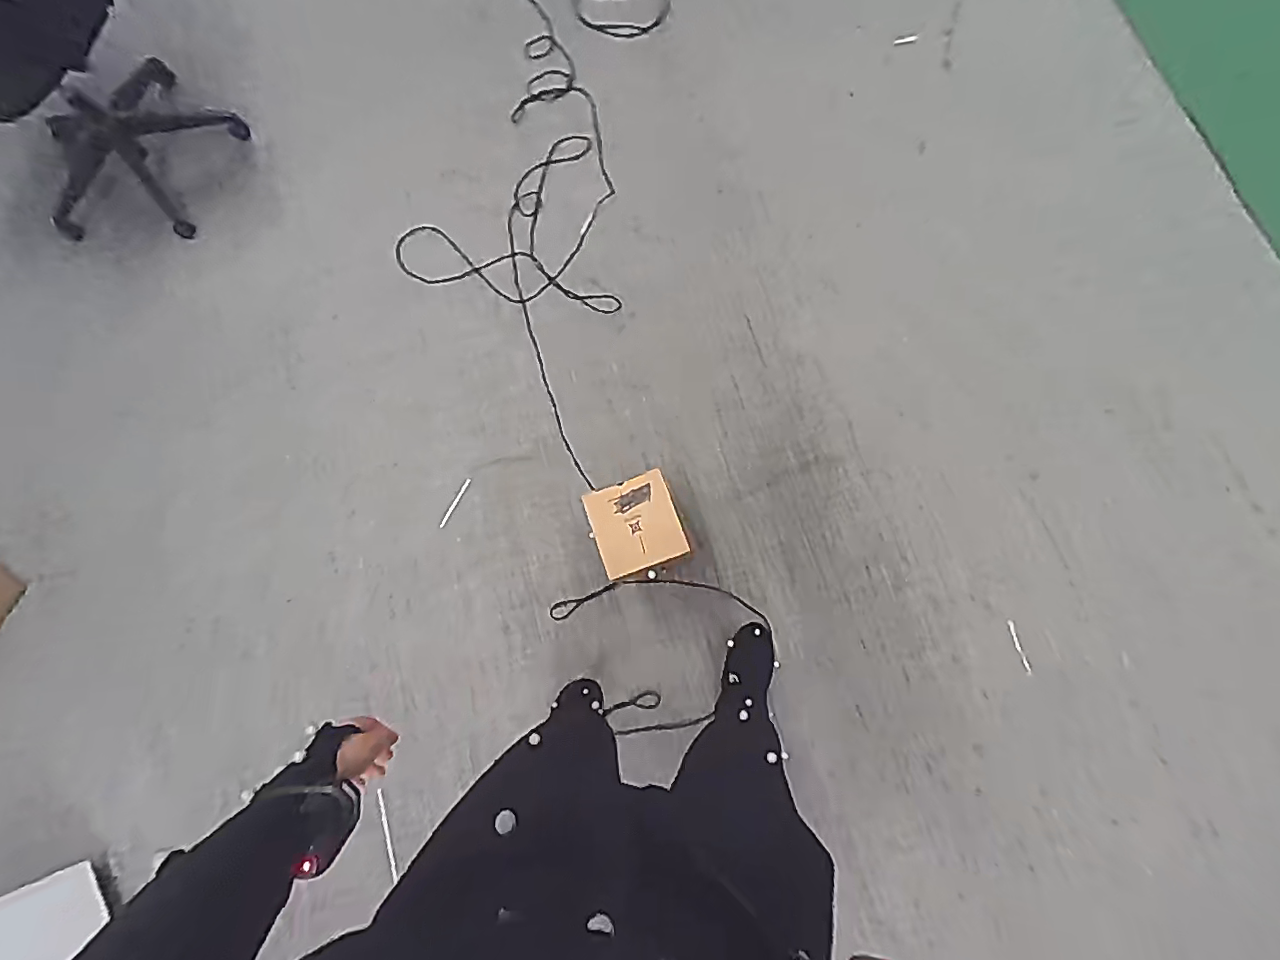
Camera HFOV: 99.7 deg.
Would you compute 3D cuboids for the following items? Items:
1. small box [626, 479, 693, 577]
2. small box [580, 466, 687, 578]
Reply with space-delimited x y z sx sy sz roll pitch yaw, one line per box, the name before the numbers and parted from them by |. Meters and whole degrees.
small box | 0.017 0.119 1.274 0.168 0.176 0.179 -24 77 -1
small box | -0.011 0.094 1.113 0.168 0.176 0.179 -20 78 1
